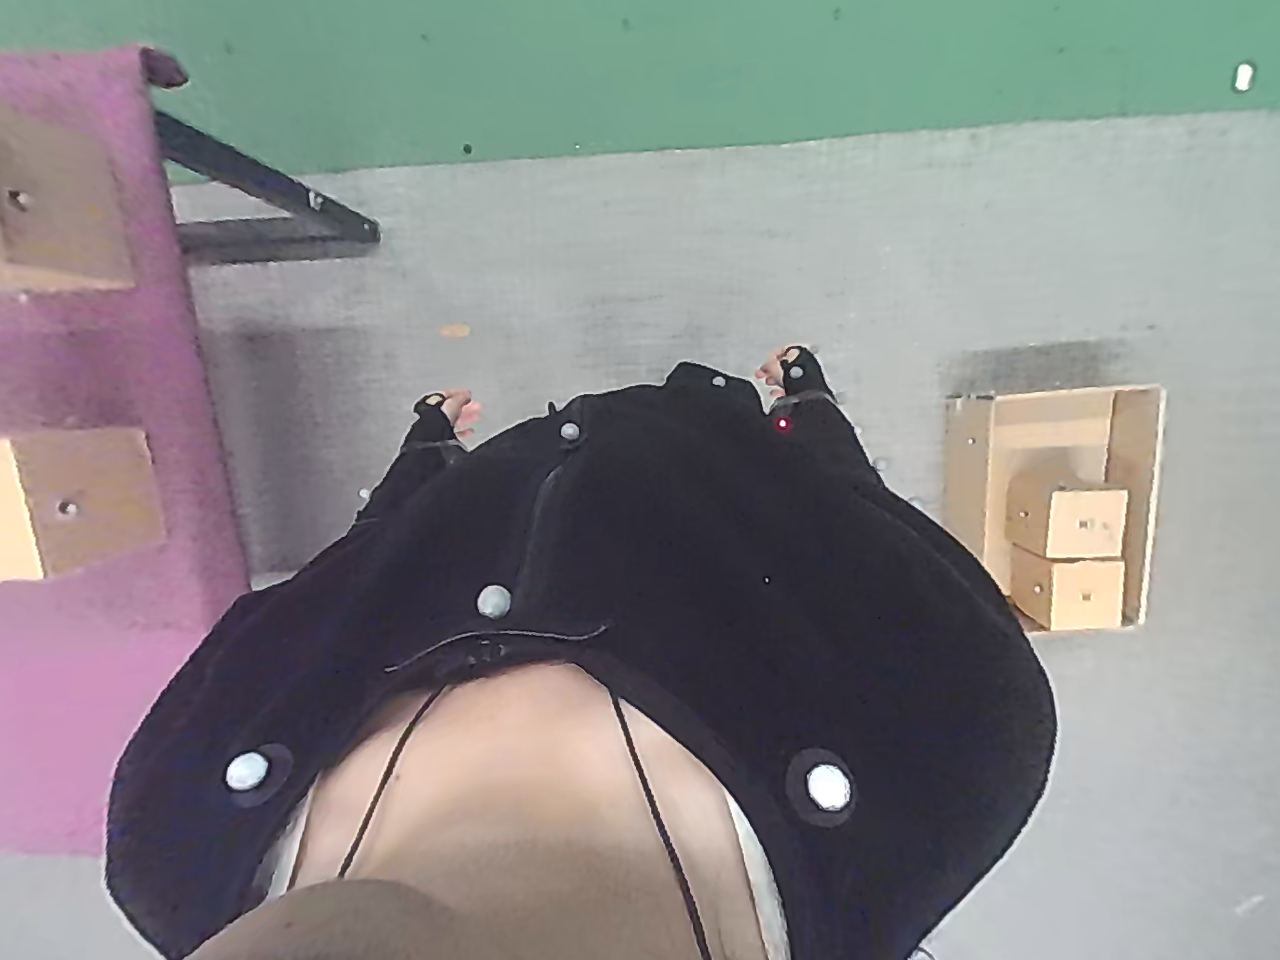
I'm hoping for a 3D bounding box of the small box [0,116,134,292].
[{"bbox_3d":[-0.774,-0.328,0.654,0.168,0.176,0.179,-3,101,2],"label":"small box"}]

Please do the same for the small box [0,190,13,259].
[{"bbox_3d":[-0.762,-0.295,0.492,0.179,0.176,0.168,-1,102,3],"label":"small box"}]

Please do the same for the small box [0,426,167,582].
[{"bbox_3d":[-0.788,0.024,0.723,0.168,0.176,0.179,-1,101,3],"label":"small box"}]
